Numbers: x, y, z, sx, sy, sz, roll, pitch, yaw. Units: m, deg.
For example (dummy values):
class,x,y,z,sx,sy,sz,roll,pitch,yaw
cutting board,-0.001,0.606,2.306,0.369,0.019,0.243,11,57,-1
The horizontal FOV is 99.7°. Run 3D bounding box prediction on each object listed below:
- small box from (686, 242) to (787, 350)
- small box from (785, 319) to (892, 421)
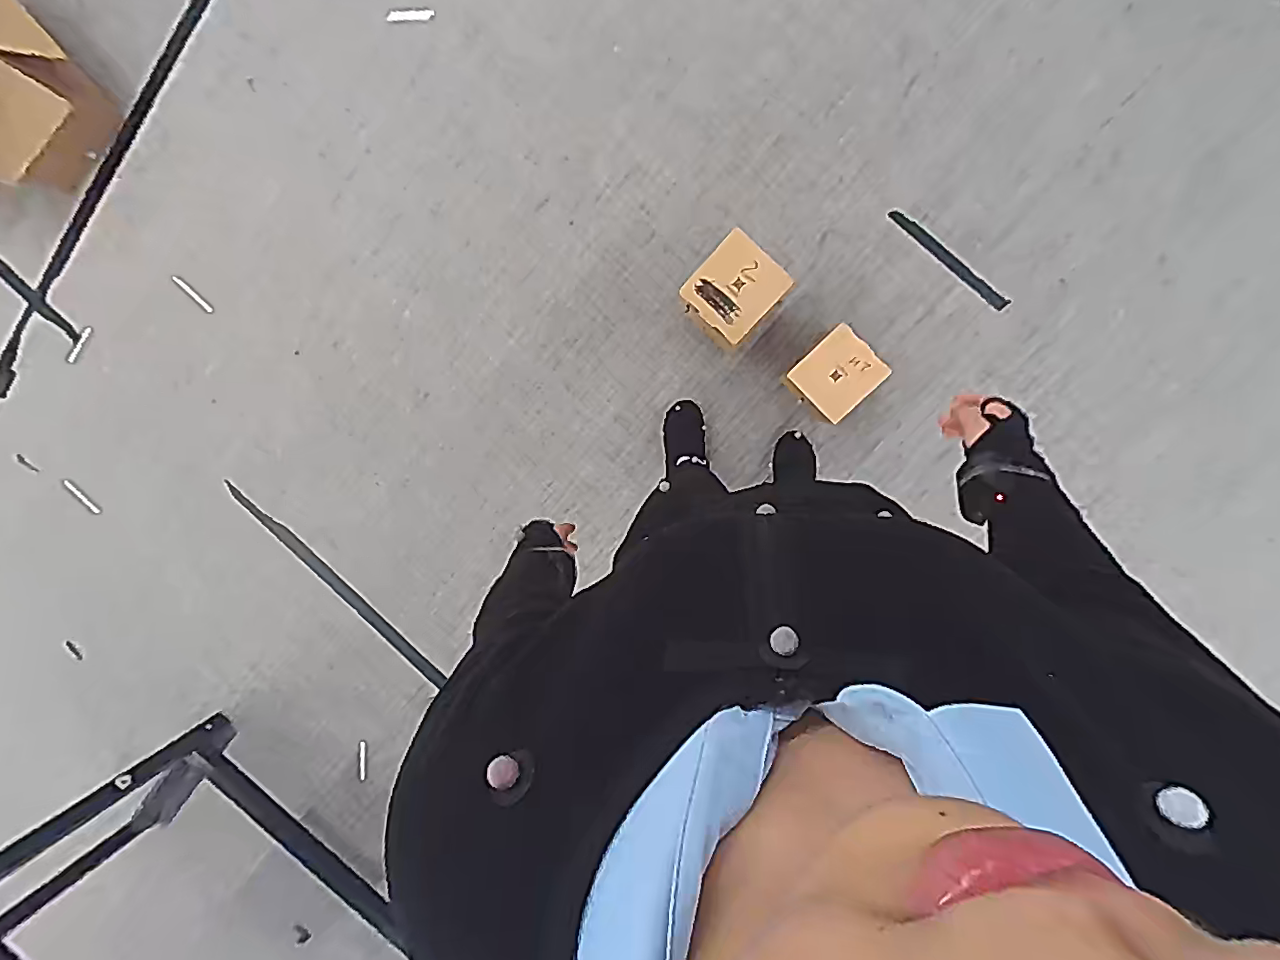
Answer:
class,x,y,z,sx,sy,sz,roll,pitch,yaw
small box,0.232,-0.444,1.332,0.168,0.176,0.179,45,102,0
small box,0.471,-0.262,1.321,0.179,0.176,0.168,-44,91,11
